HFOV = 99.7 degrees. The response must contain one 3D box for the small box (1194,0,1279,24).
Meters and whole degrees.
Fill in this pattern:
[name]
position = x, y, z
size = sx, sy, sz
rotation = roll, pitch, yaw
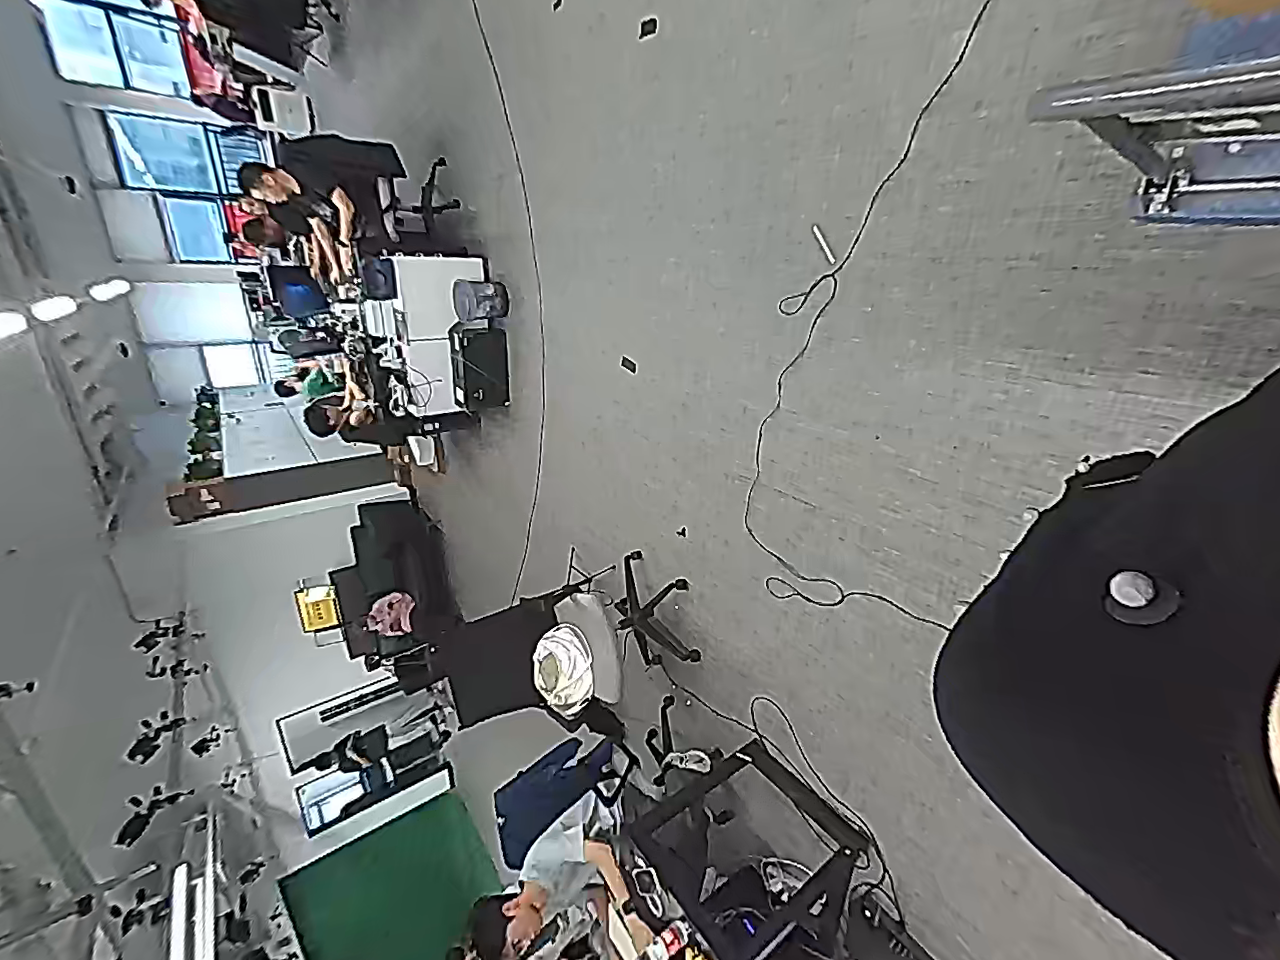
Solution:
[small box]
position = 0.889, -0.748, 0.723
size = 0.179, 0.176, 0.168
rotation = 31, 125, 44
